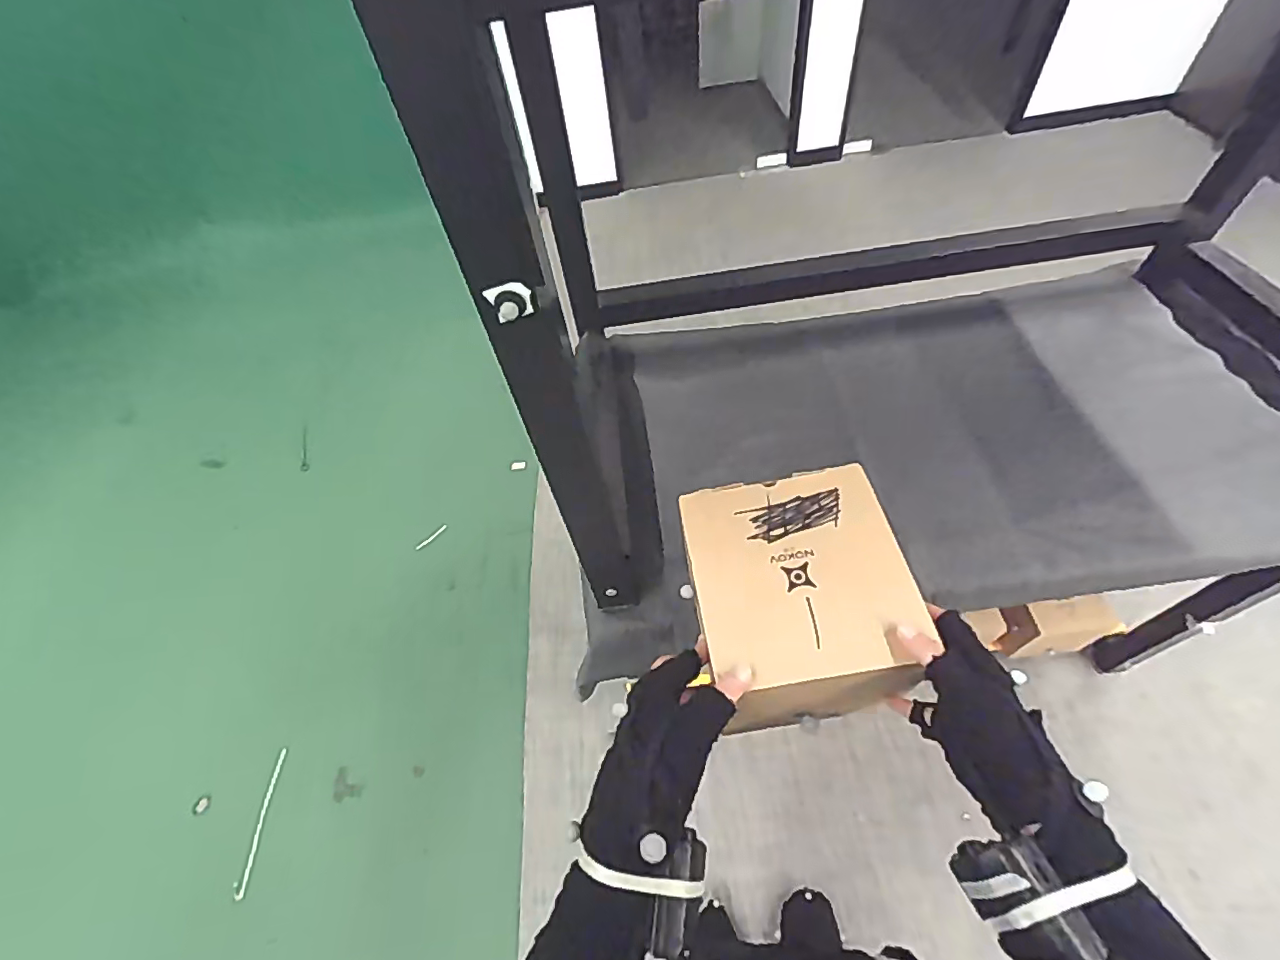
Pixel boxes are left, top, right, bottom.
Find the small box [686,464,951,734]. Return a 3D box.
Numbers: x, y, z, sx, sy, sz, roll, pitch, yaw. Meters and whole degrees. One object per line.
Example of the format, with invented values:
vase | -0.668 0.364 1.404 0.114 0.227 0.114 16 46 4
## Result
small box | 0.139 0.114 0.494 0.168 0.176 0.179 -11 55 3
